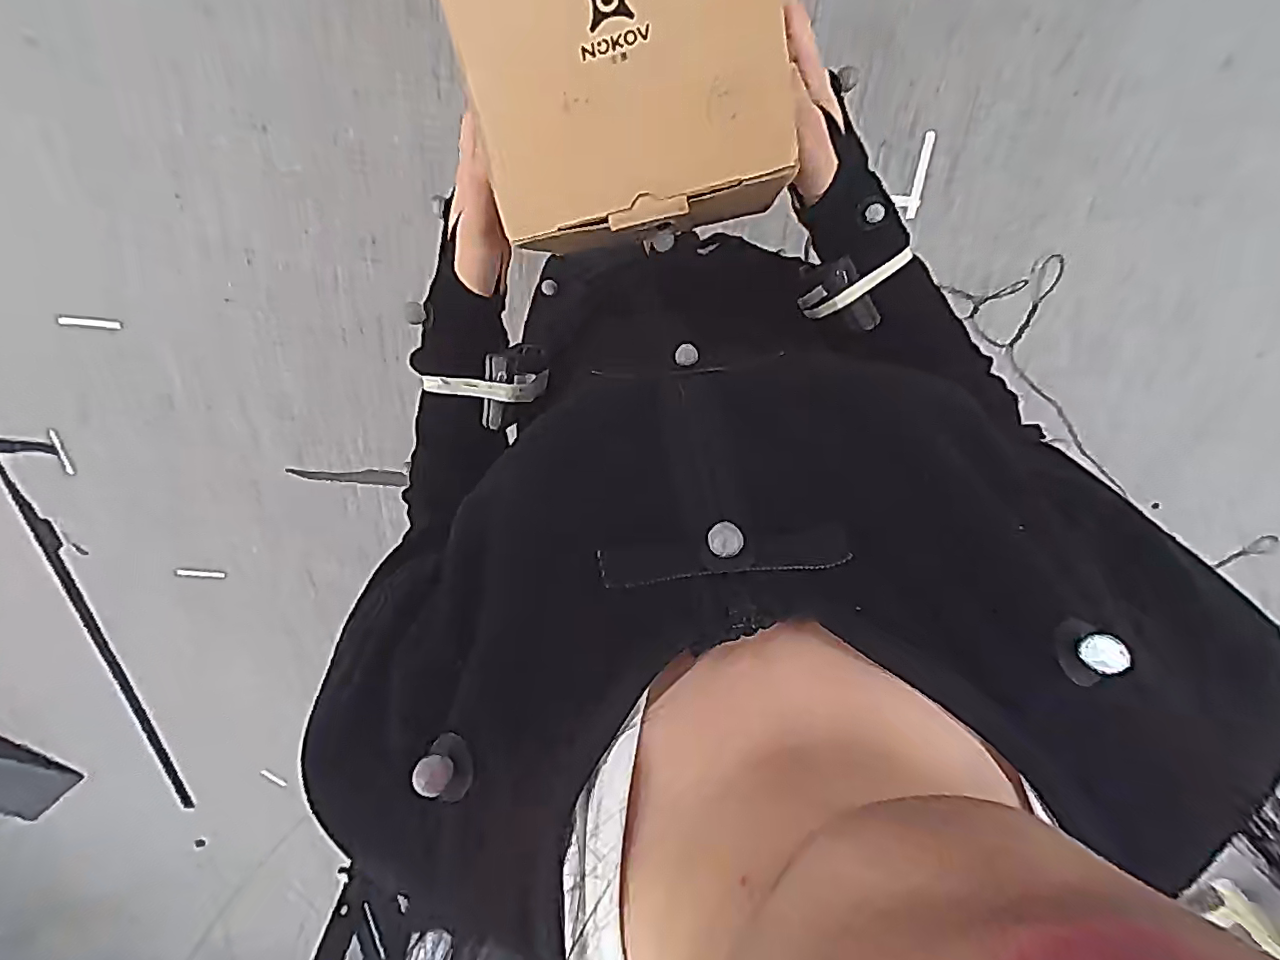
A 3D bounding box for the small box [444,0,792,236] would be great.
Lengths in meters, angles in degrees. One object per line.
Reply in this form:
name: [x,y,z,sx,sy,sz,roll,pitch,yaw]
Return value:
small box: [-0.005,-0.262,0.340,0.168,0.176,0.179,-9,110,10]
